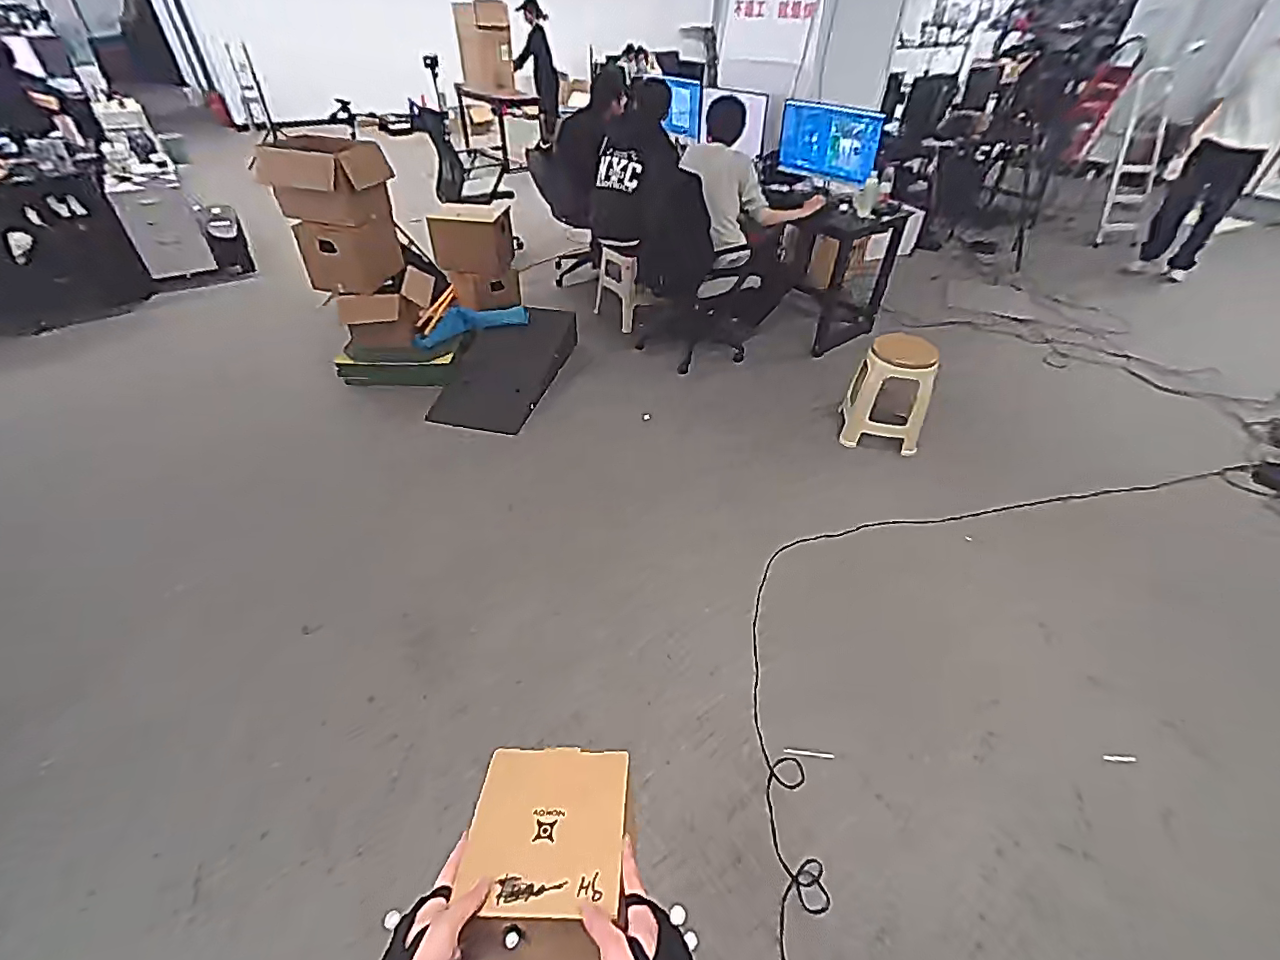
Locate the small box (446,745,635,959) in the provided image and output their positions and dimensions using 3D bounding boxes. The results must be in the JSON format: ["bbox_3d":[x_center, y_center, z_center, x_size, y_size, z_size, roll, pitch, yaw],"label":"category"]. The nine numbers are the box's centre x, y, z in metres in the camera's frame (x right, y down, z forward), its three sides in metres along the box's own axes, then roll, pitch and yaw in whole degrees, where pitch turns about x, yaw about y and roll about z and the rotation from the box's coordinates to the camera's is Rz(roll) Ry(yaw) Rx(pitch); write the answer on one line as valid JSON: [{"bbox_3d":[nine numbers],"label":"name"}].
[{"bbox_3d":[-0.096,0.435,0.614,0.168,0.176,0.179,-1,28,5],"label":"small box"}]
